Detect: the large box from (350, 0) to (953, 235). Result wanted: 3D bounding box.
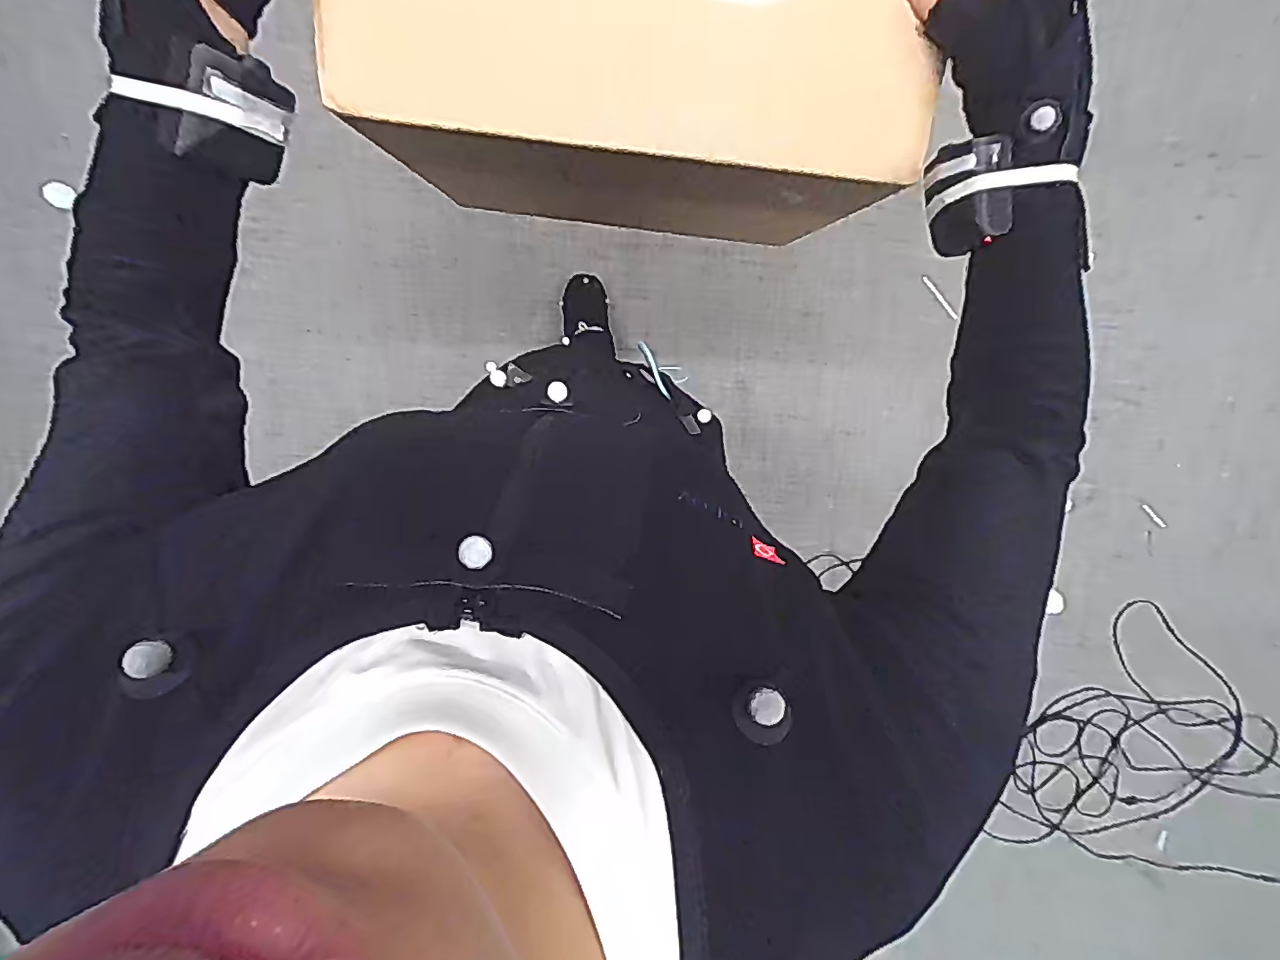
[{"bbox_3d":[0.009,-0.423,0.480,0.408,0.320,0.320,4,106,-5],"label":"large box"}]
